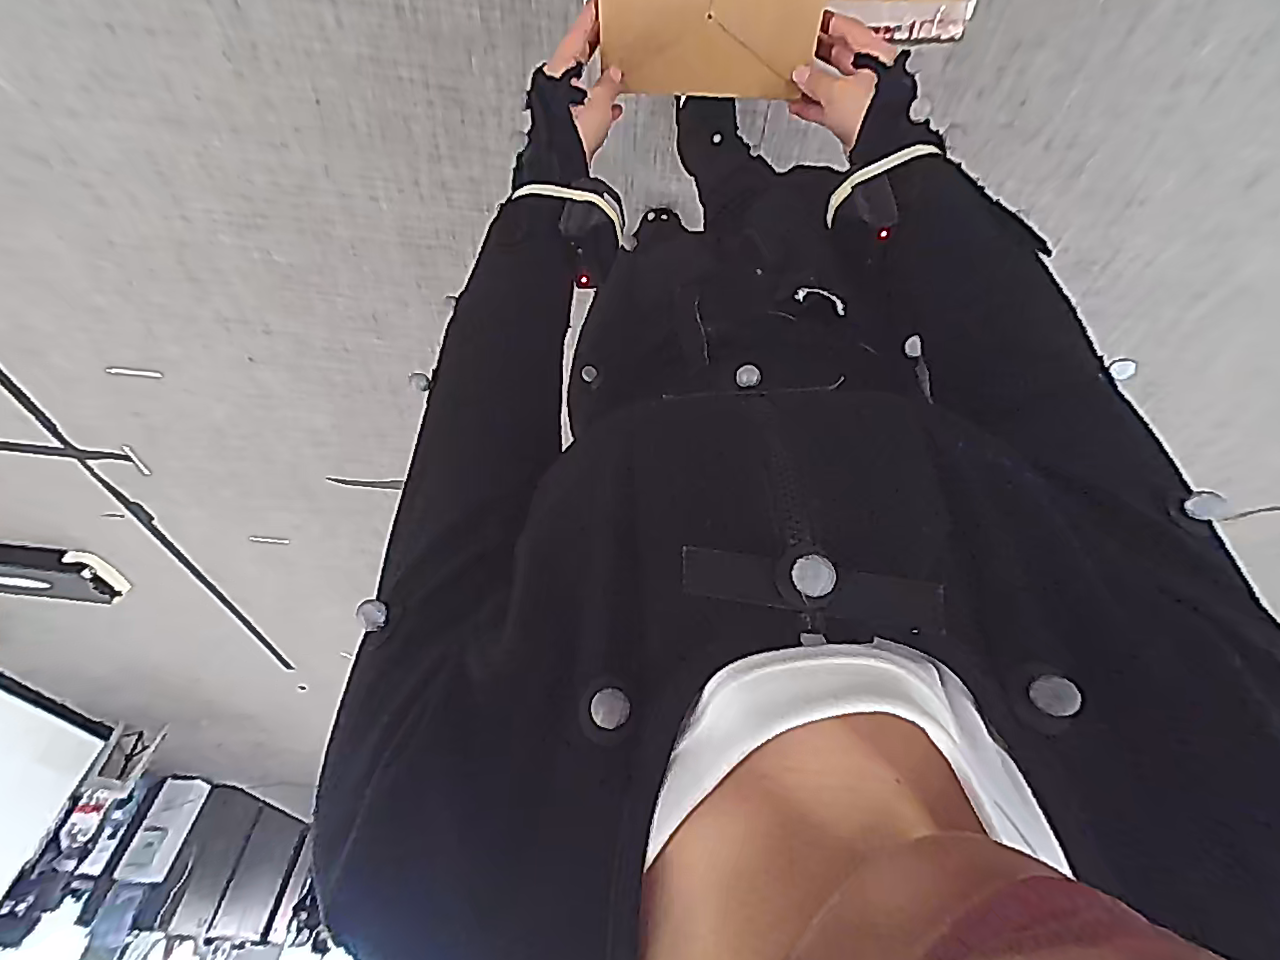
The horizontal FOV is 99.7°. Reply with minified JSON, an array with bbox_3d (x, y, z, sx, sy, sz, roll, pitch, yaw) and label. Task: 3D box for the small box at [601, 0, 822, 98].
[{"bbox_3d":[0.057,-0.444,0.457,0.179,0.176,0.168,3,140,1],"label":"small box"}]
